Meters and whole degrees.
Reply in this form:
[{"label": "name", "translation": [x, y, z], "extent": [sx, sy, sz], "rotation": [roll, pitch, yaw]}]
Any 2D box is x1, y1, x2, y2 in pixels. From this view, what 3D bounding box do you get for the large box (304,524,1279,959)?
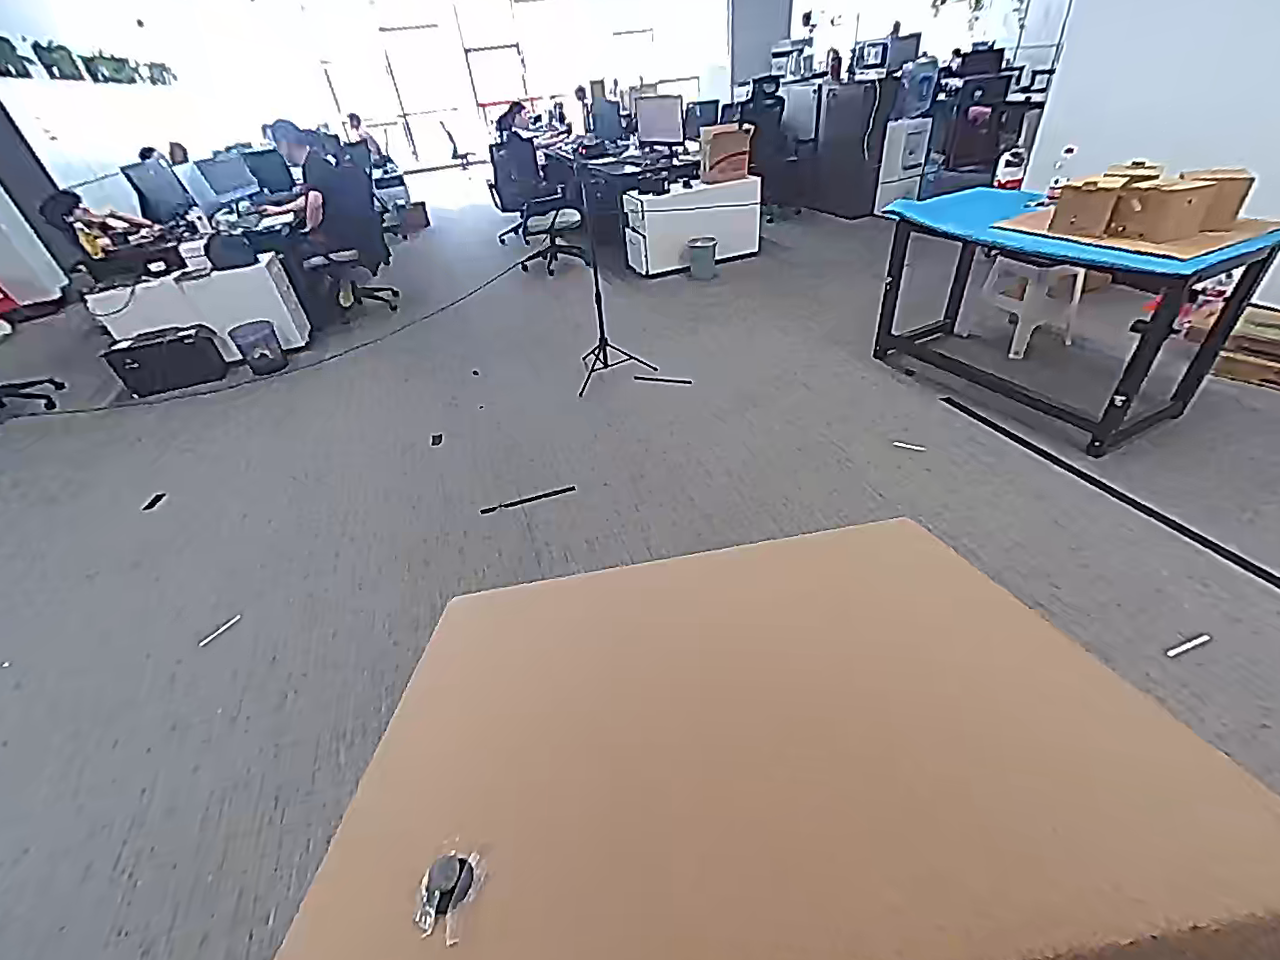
[{"label": "large box", "translation": [0.072, 0.259, 0.385], "extent": [0.408, 0.320, 0.320], "rotation": [-11, 20, 0]}]
